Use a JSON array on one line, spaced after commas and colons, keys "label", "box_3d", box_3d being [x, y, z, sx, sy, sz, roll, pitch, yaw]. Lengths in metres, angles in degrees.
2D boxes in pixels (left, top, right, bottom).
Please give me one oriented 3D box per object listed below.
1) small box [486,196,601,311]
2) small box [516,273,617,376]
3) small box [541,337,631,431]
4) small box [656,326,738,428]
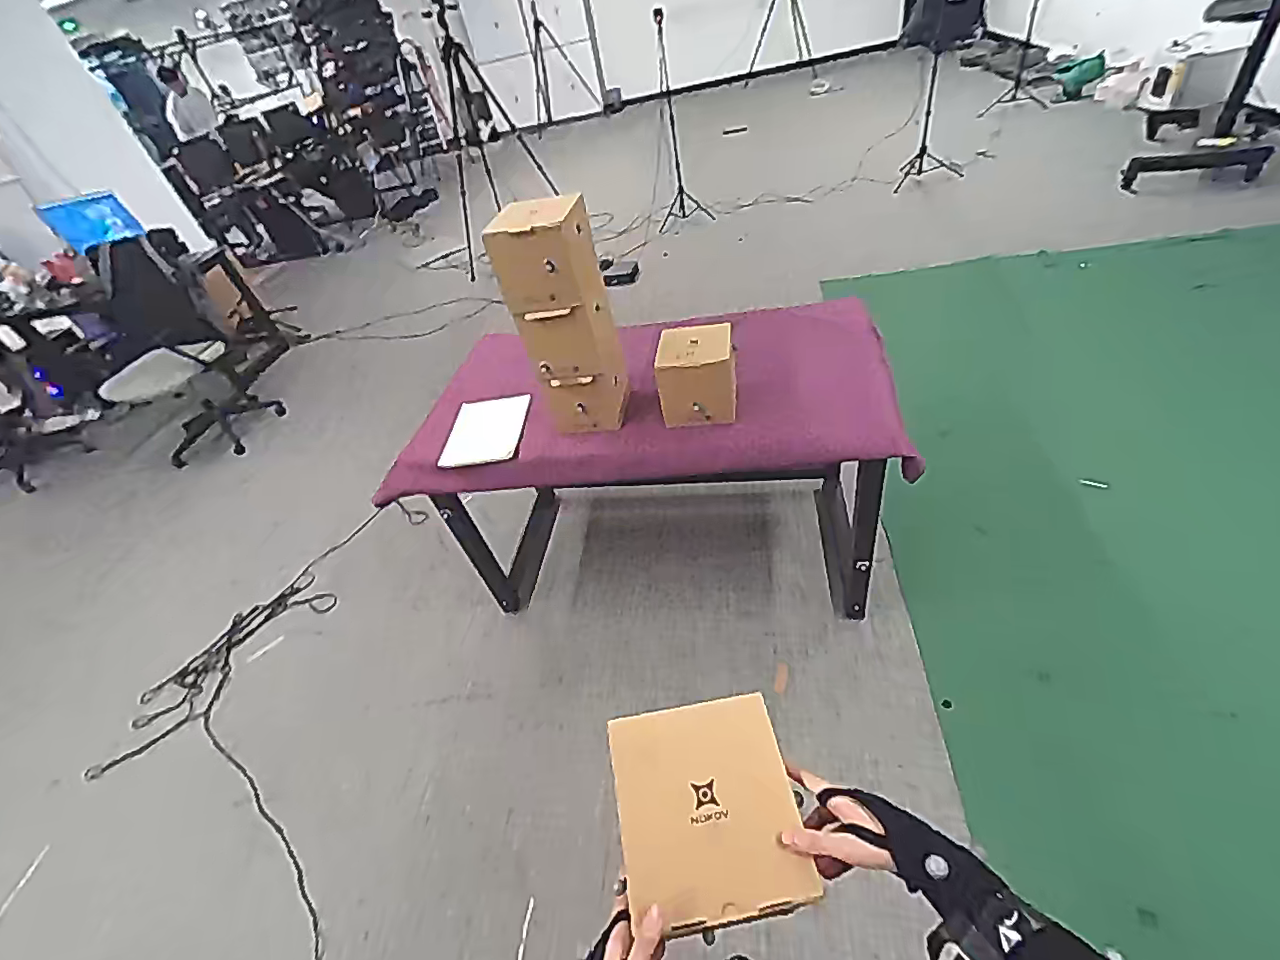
[{"label": "small box", "box_3d": [-0.188, -0.462, 1.121, 0.168, 0.176, 0.179, -1, 43, 14]}, {"label": "small box", "box_3d": [-0.157, -0.348, 1.233, 0.168, 0.176, 0.179, -2, 43, 13]}, {"label": "small box", "box_3d": [-0.126, -0.233, 1.348, 0.168, 0.176, 0.179, -2, 44, 13]}, {"label": "small box", "box_3d": [0.141, -0.243, 1.279, 0.168, 0.176, 0.179, -3, 43, 14]}]
